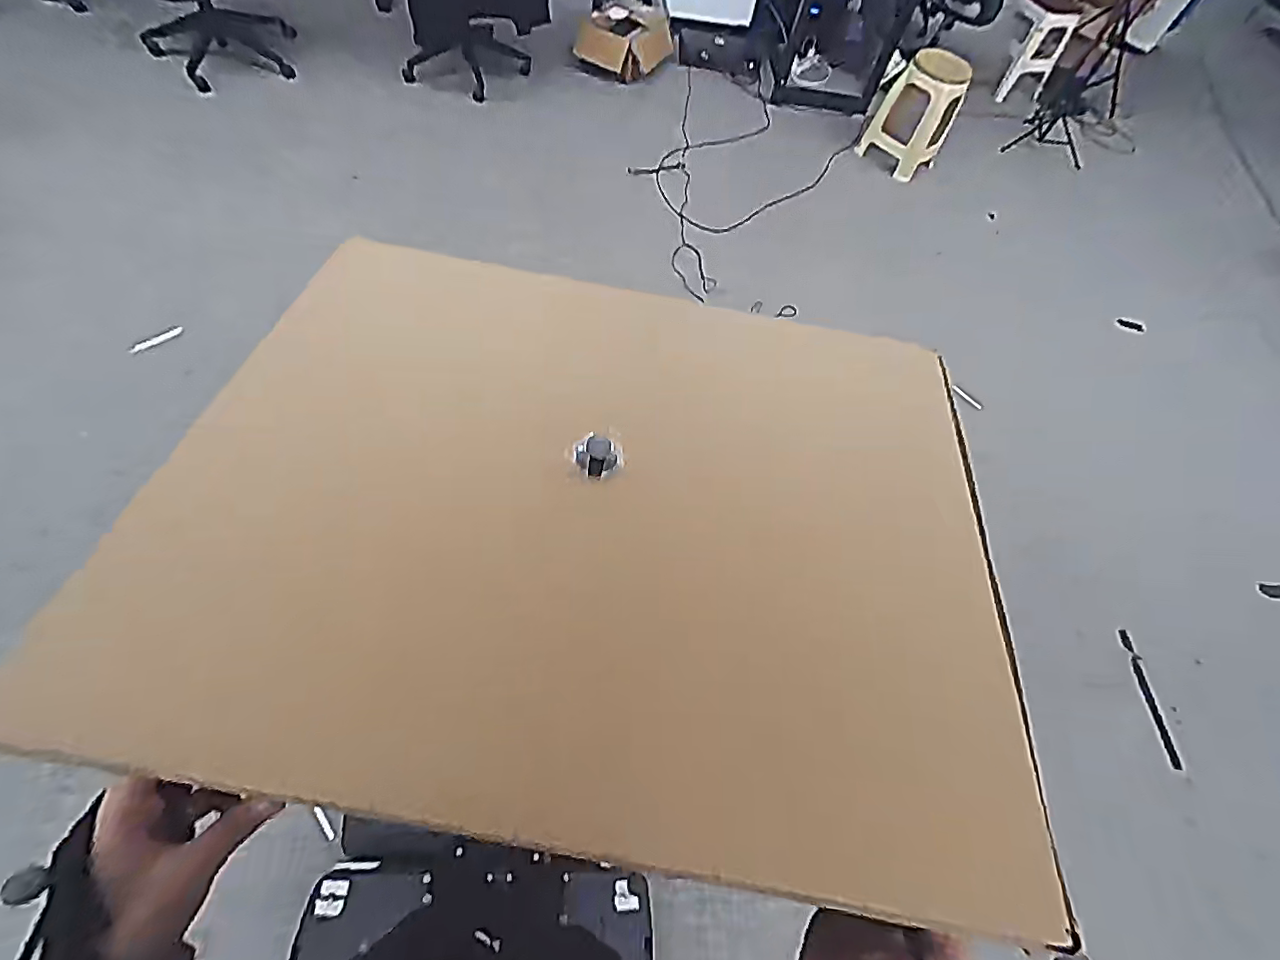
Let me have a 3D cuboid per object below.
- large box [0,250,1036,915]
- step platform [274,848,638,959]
[{"bbox_3d":[-0.048,0.075,0.396,0.408,0.320,0.320,9,58,1],"label":"large box"},{"bbox_3d":[-0.344,0.940,1.076,0.684,0.204,0.286,8,60,-3],"label":"step platform"}]
